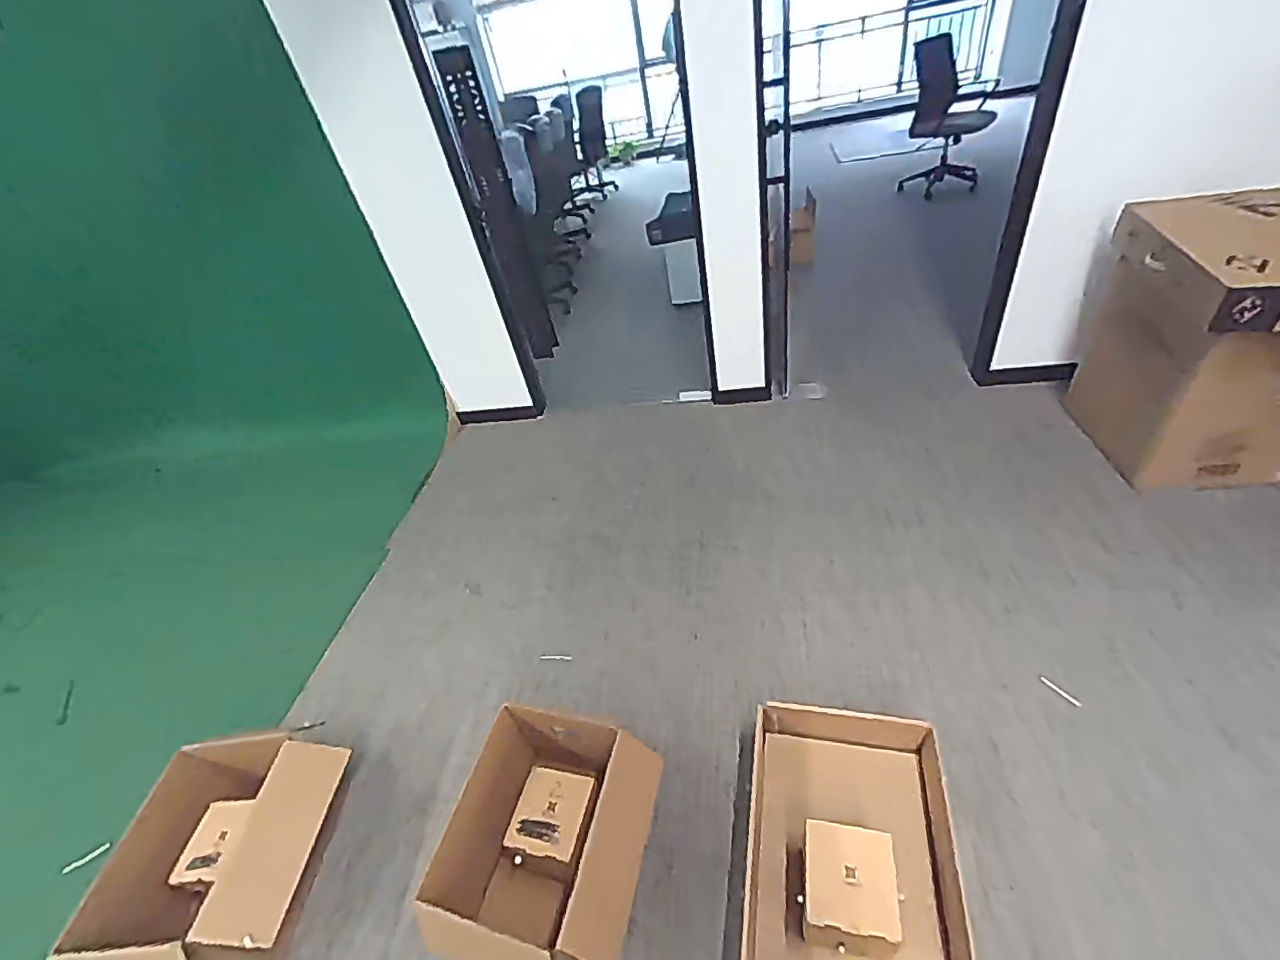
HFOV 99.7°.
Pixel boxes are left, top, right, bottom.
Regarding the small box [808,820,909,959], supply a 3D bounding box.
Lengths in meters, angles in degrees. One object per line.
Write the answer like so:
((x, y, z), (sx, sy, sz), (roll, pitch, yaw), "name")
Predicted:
((0.424, 0.819, 1.077), (0.168, 0.176, 0.179), (1, 41, 16), "small box")
